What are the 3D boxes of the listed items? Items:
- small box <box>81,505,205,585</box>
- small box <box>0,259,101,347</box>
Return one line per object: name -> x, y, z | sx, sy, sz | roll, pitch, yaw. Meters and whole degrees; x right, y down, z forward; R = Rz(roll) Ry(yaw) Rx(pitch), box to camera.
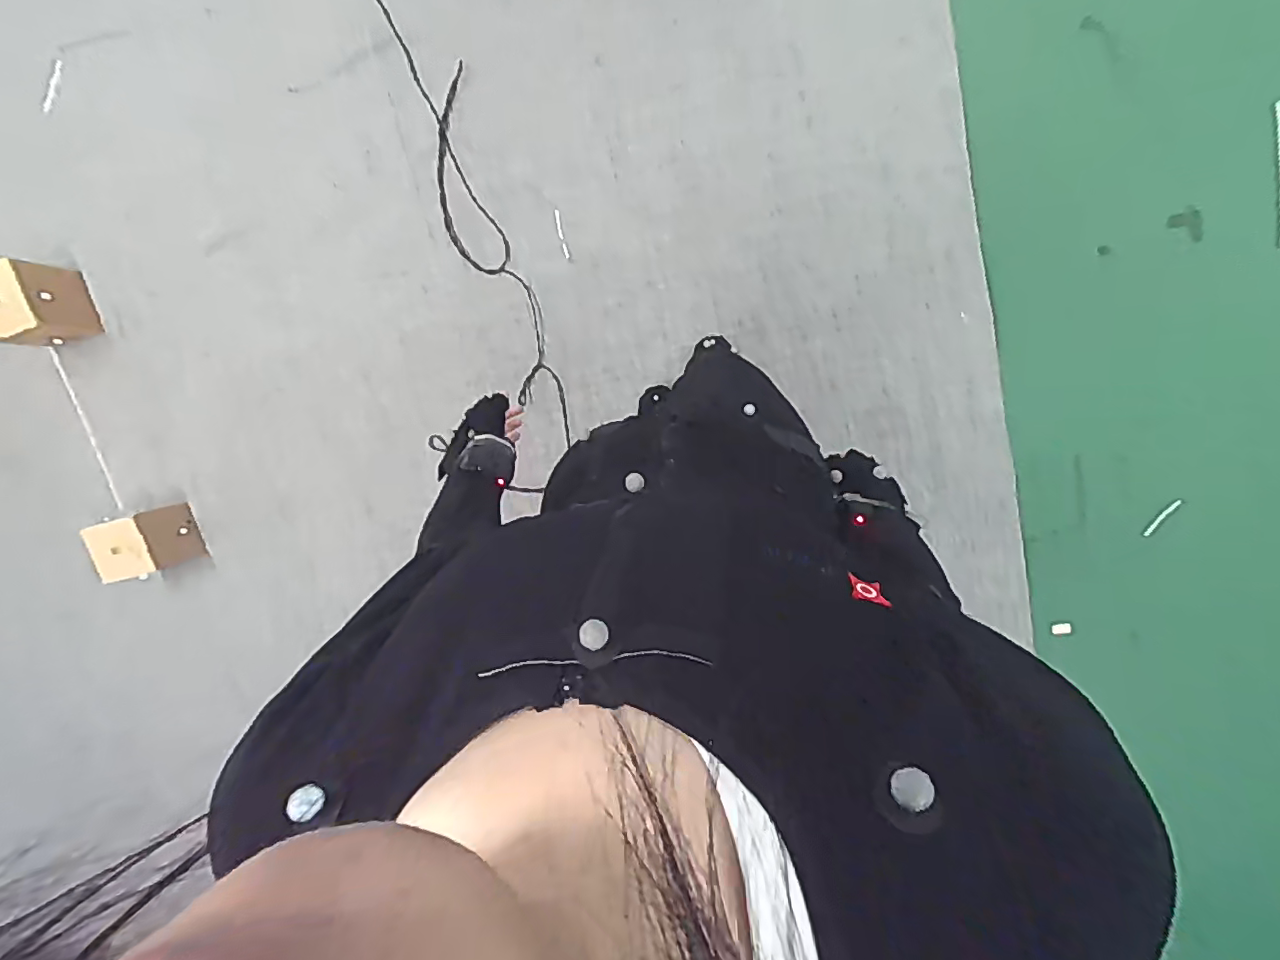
small box -> -1.422, 0.182, 1.558 | 0.179, 0.176, 0.168 | -15, 100, 7
small box -> -1.619, -0.464, 1.440 | 0.168, 0.176, 0.179 | -14, 101, 7
